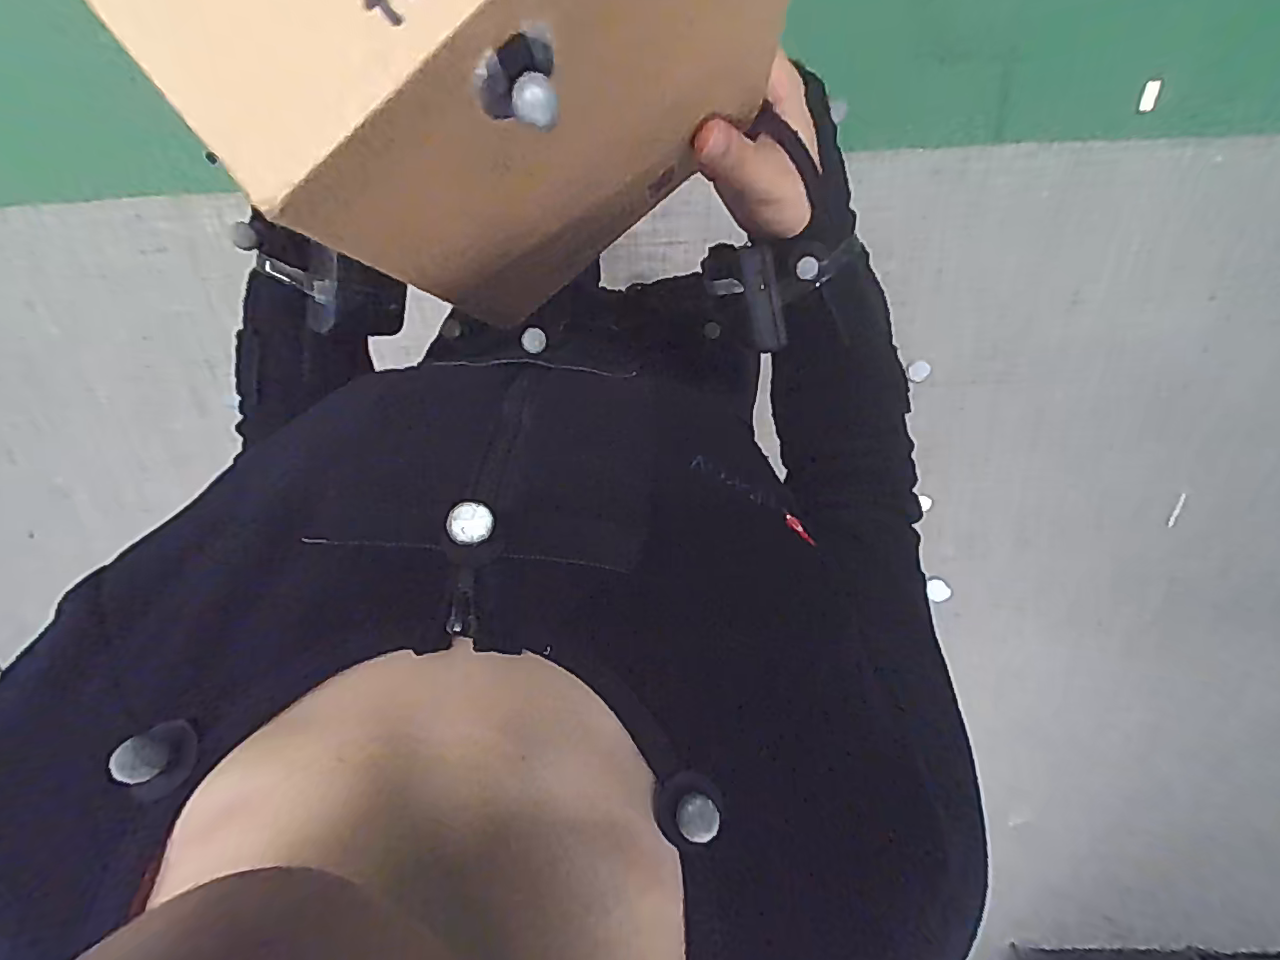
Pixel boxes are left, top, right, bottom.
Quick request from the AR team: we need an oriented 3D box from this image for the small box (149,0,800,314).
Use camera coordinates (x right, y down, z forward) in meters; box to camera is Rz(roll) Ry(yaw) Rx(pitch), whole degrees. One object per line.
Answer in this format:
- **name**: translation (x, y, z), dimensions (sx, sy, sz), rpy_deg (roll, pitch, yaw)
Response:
- **small box**: translation (-0.058, -0.187, 0.195), dimensions (0.168, 0.176, 0.179), rpy_deg (-38, 92, 8)
